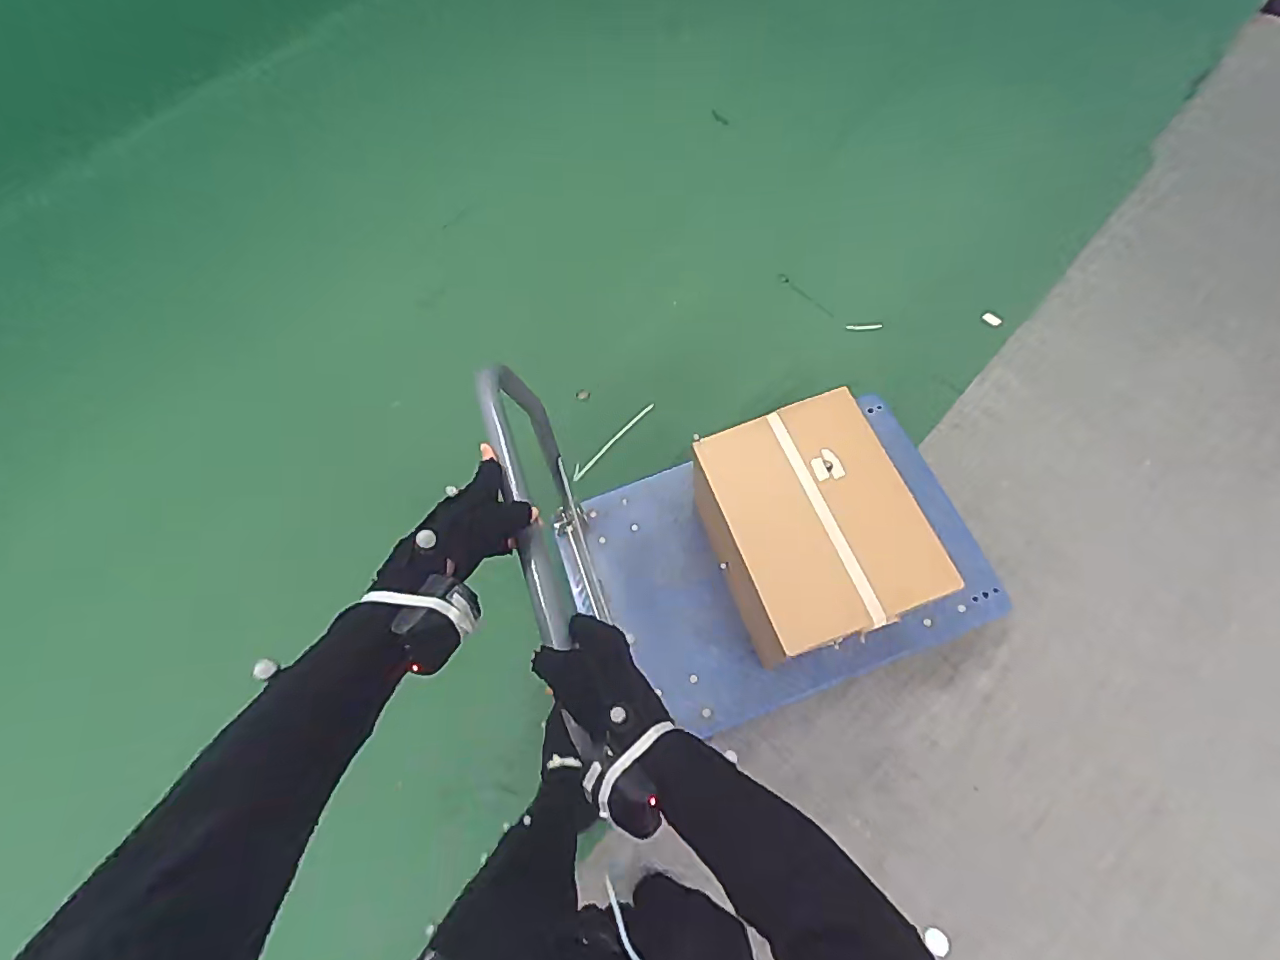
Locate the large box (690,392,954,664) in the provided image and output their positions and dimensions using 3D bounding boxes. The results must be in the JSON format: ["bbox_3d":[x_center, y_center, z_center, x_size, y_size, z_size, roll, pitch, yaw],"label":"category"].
[{"bbox_3d":[0.319,0.109,1.080,0.320,0.320,0.408,-20,66,-3],"label":"large box"}]
